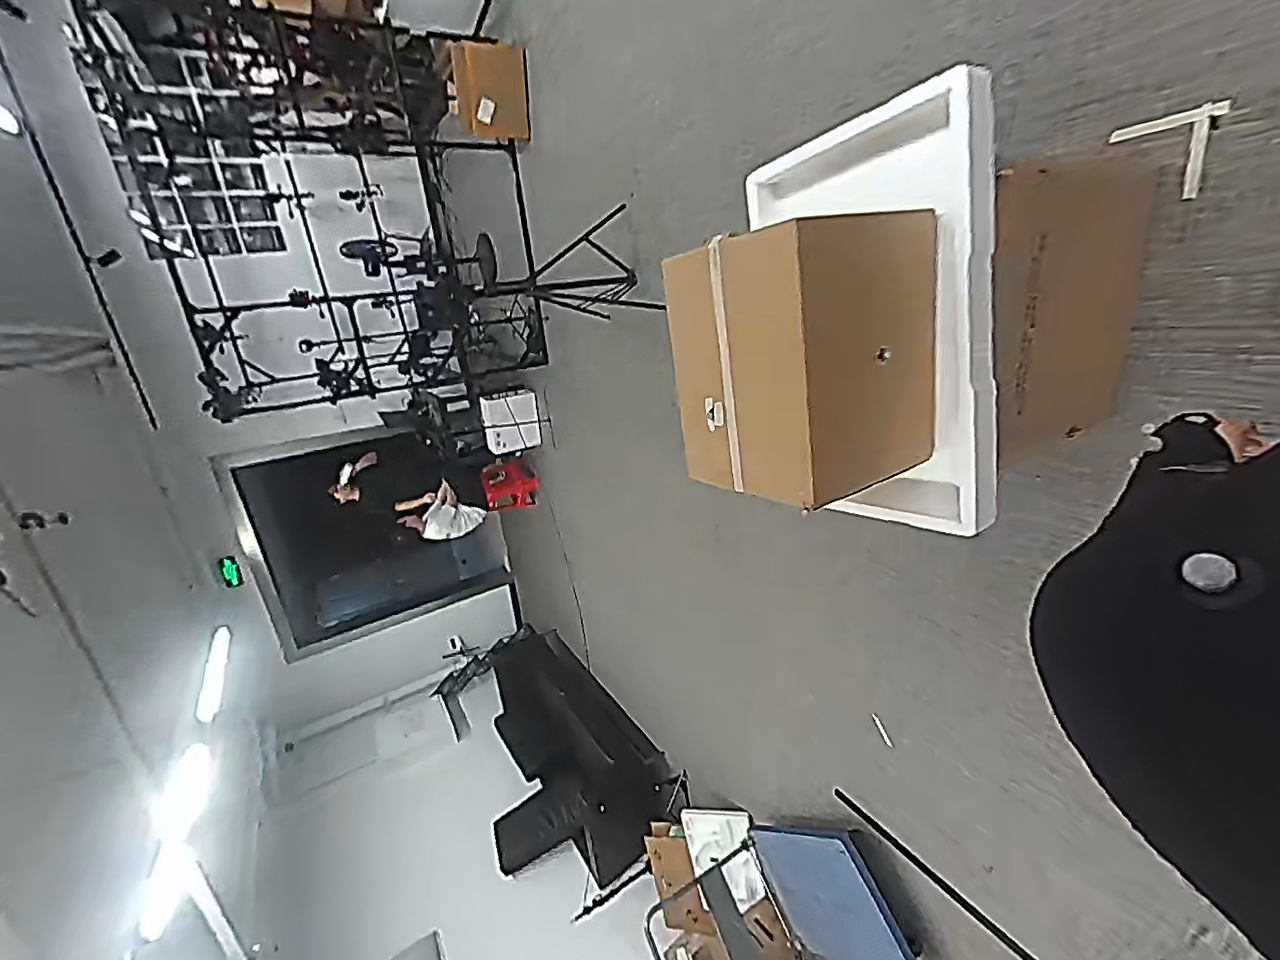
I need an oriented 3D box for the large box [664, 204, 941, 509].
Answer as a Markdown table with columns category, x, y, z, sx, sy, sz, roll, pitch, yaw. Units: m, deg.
| category | x | y | z | sx | sy | sz | roll | pitch | yaw |
| --- | --- | --- | --- | --- | --- | --- | --- | --- | --- |
| large box | 0.279 | -0.210 | 0.926 | 0.320 | 0.320 | 0.408 | 18 | 122 | 58 |
